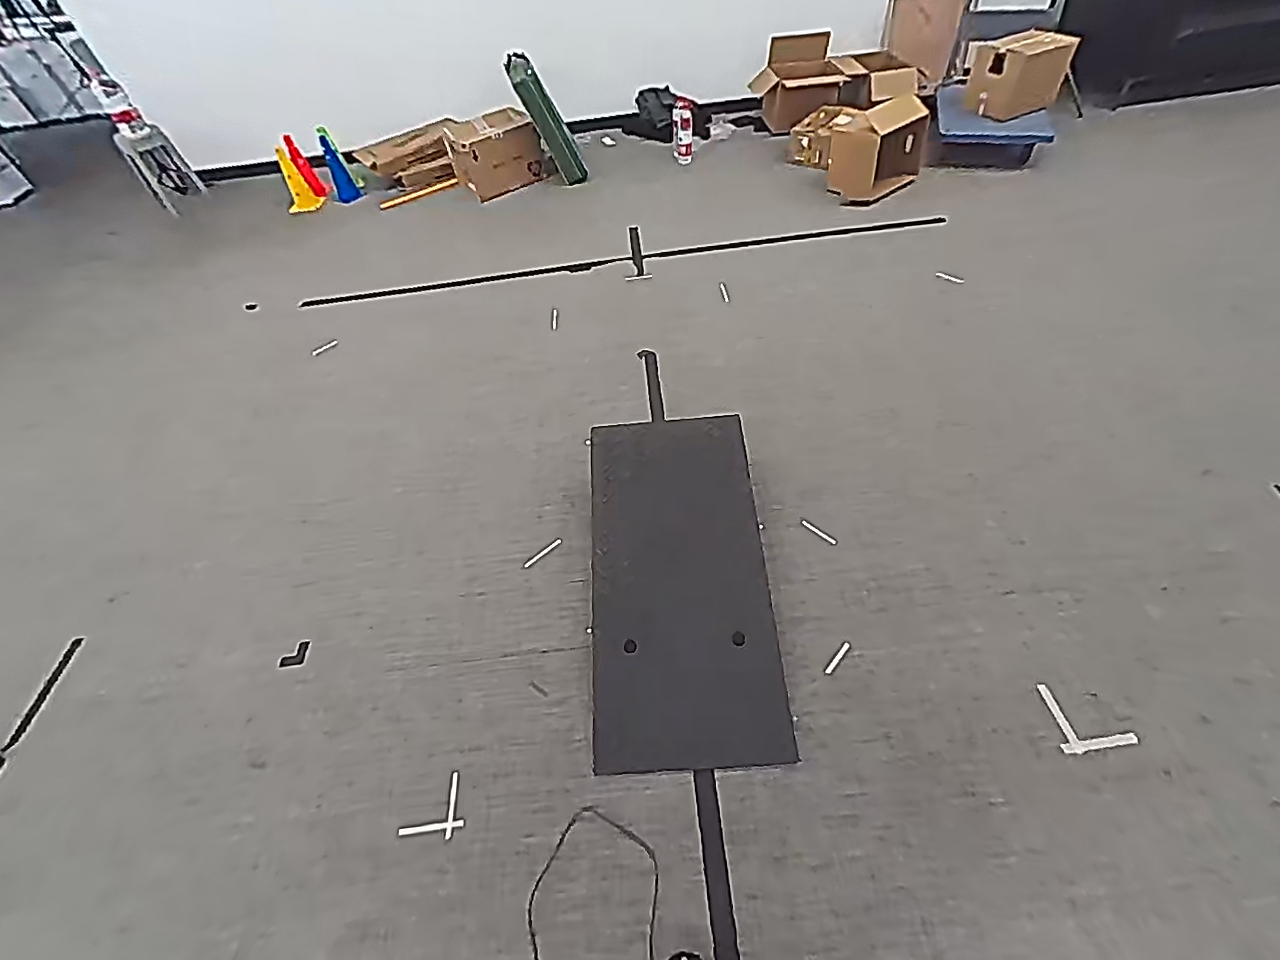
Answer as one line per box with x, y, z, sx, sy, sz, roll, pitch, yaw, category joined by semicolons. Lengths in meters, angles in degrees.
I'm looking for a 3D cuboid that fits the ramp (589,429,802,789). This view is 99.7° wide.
0.112;0.289;1.538;0.509;0.206;0.991;-7;49;0;ramp
